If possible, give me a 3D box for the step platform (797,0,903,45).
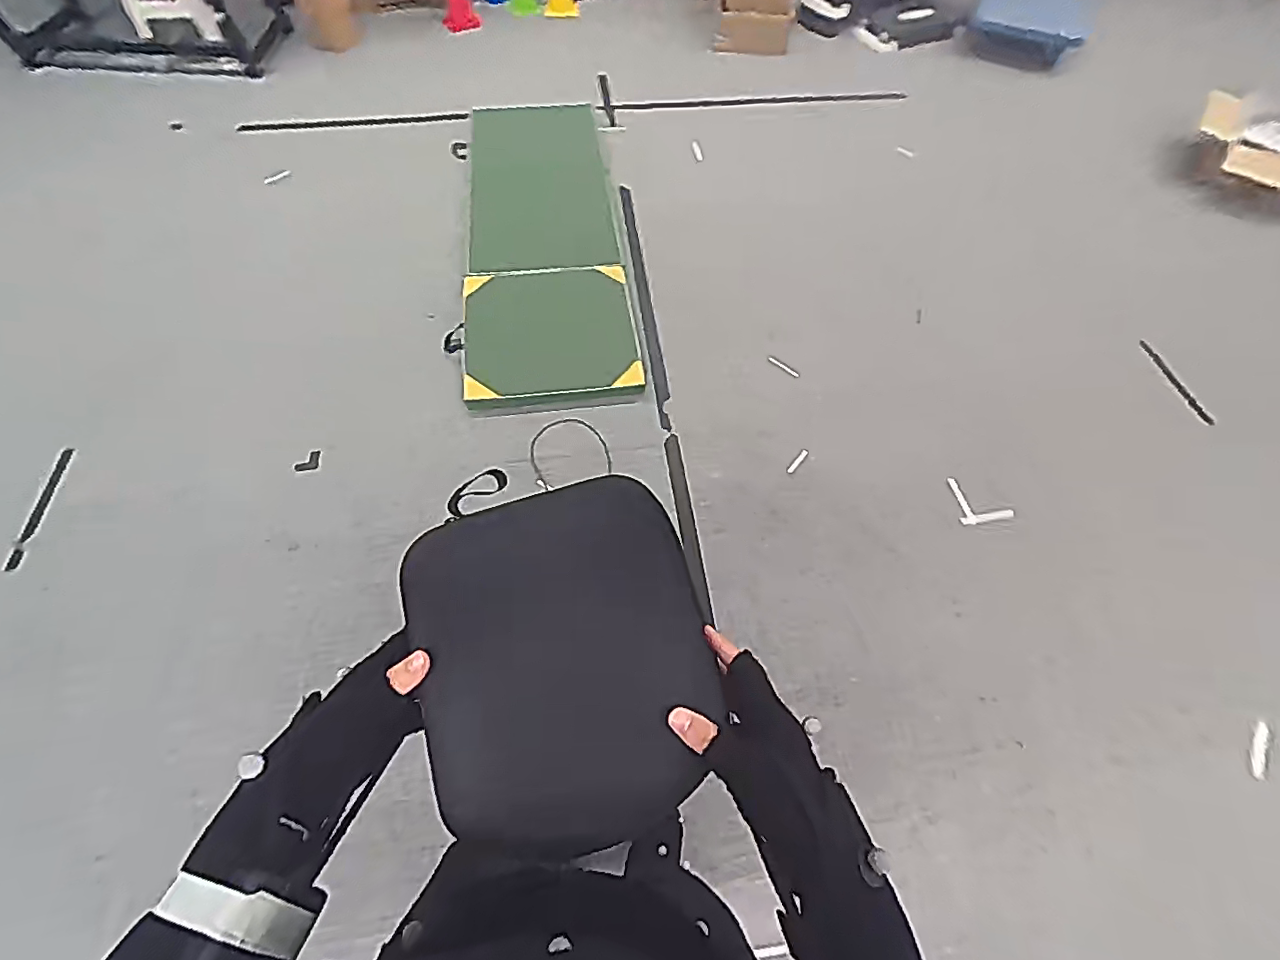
[{"bbox_3d":[1.288,-2.874,3.276,0.684,0.204,0.286,-33,67,-19],"label":"step platform"}]
